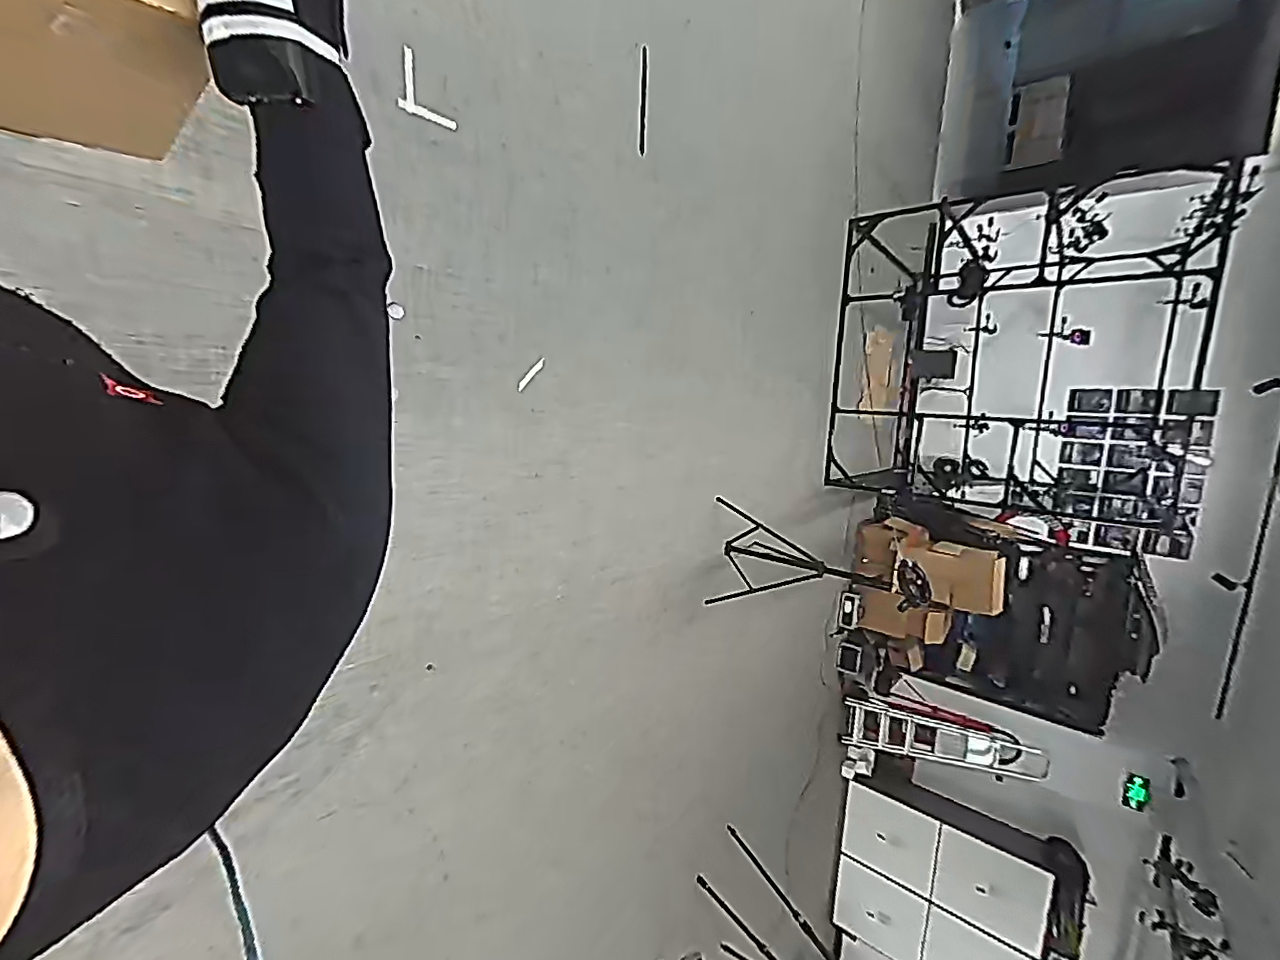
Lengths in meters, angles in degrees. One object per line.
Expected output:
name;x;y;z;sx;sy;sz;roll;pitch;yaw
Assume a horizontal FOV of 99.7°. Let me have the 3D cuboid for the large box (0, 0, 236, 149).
large box;-0.525;-0.443;0.297;0.408;0.320;0.320;-13;106;-47
